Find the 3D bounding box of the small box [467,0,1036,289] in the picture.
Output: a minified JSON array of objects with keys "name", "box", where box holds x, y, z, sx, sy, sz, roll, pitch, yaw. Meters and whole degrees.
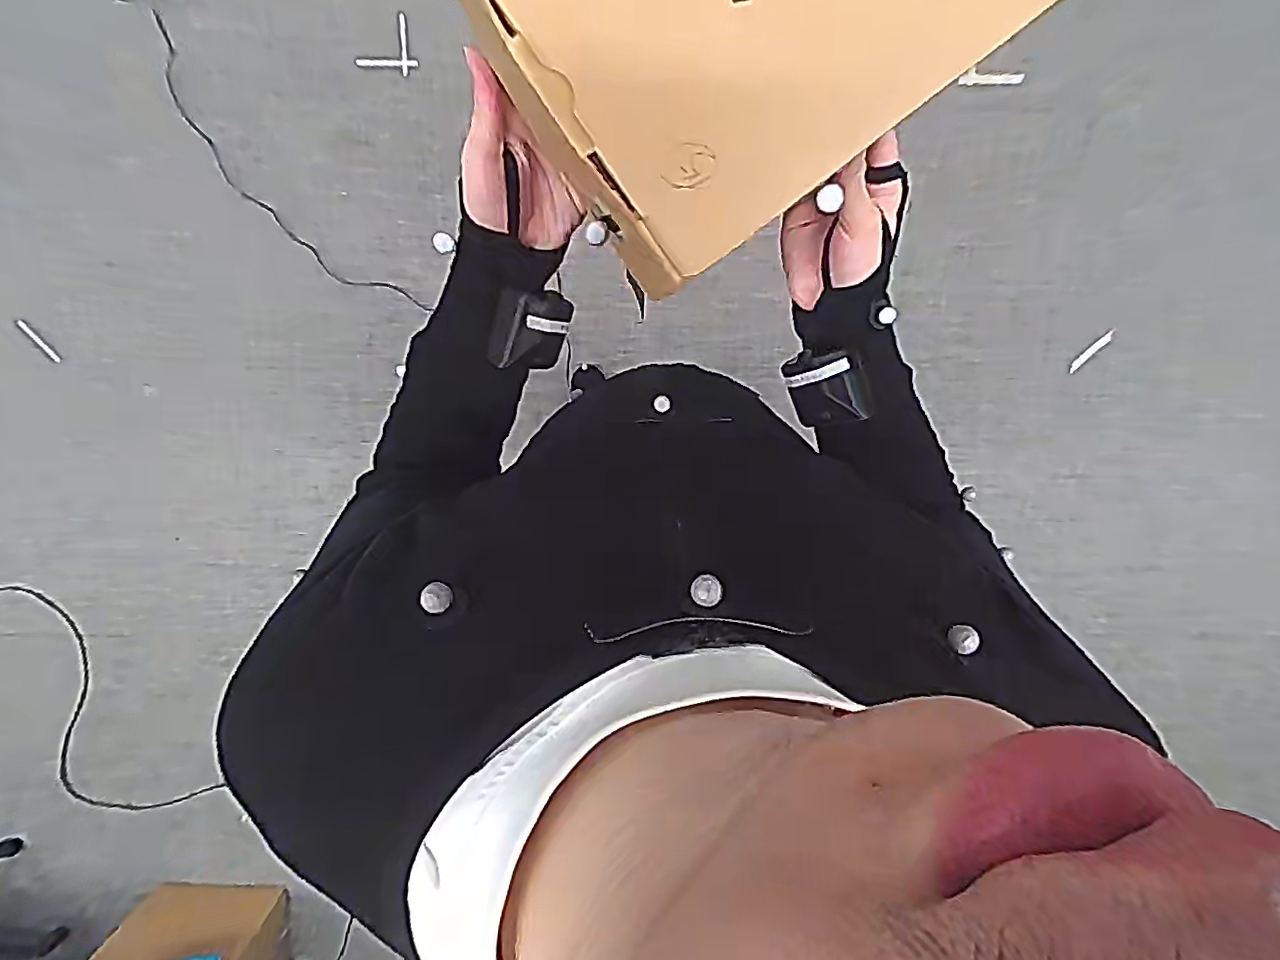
[{"name":"small box","box":[0.033,-0.216,0.273,0.179,0.176,0.168,-37,105,7]}]
